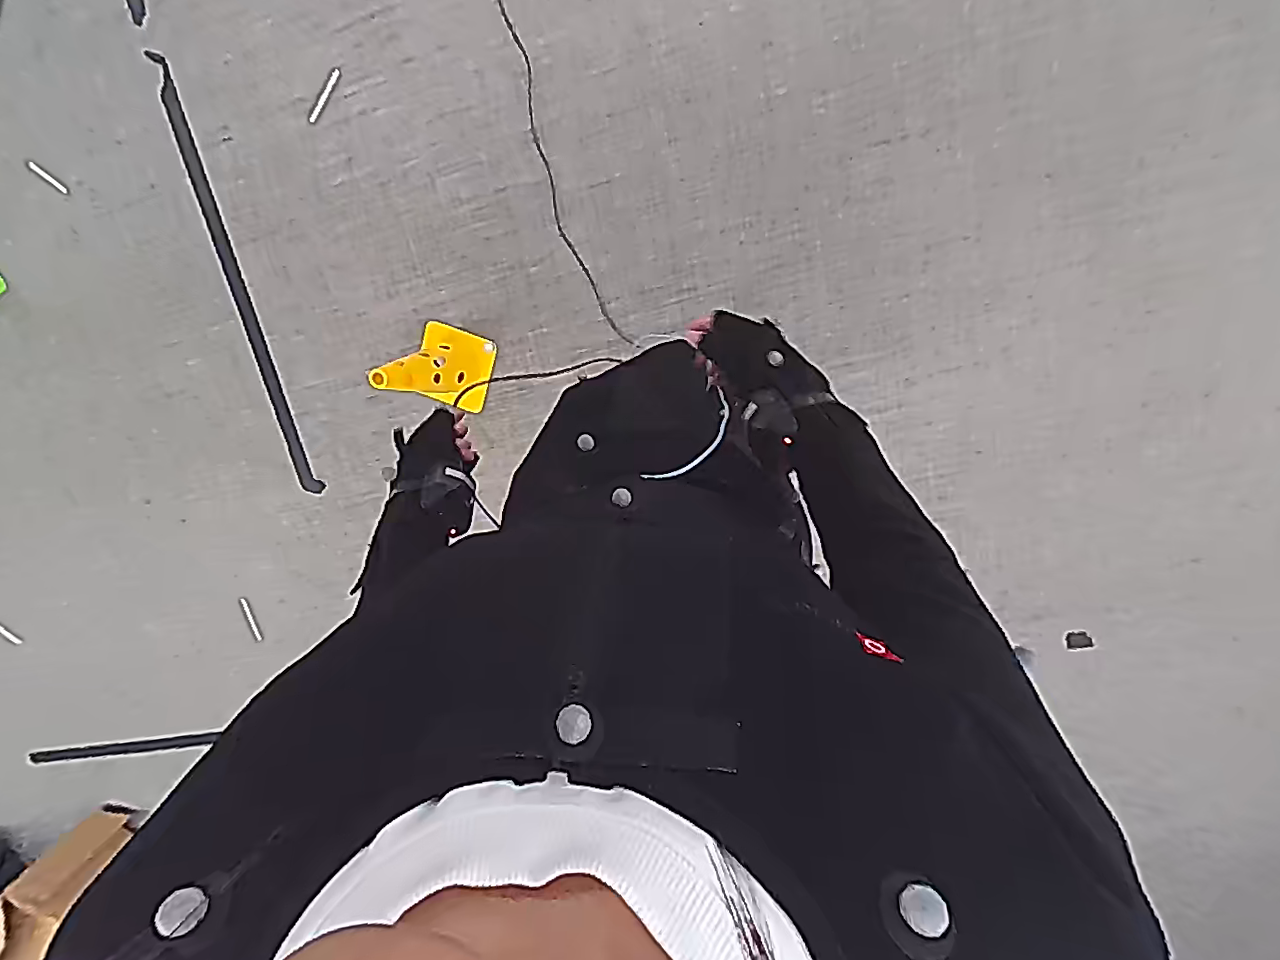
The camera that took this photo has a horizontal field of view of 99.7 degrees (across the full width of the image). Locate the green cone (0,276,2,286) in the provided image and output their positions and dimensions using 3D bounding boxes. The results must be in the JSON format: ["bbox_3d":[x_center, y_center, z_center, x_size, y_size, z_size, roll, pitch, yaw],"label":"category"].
[{"bbox_3d":[-1.983,-0.572,1.402,0.200,0.368,0.202,-26,99,13],"label":"green cone"}]
